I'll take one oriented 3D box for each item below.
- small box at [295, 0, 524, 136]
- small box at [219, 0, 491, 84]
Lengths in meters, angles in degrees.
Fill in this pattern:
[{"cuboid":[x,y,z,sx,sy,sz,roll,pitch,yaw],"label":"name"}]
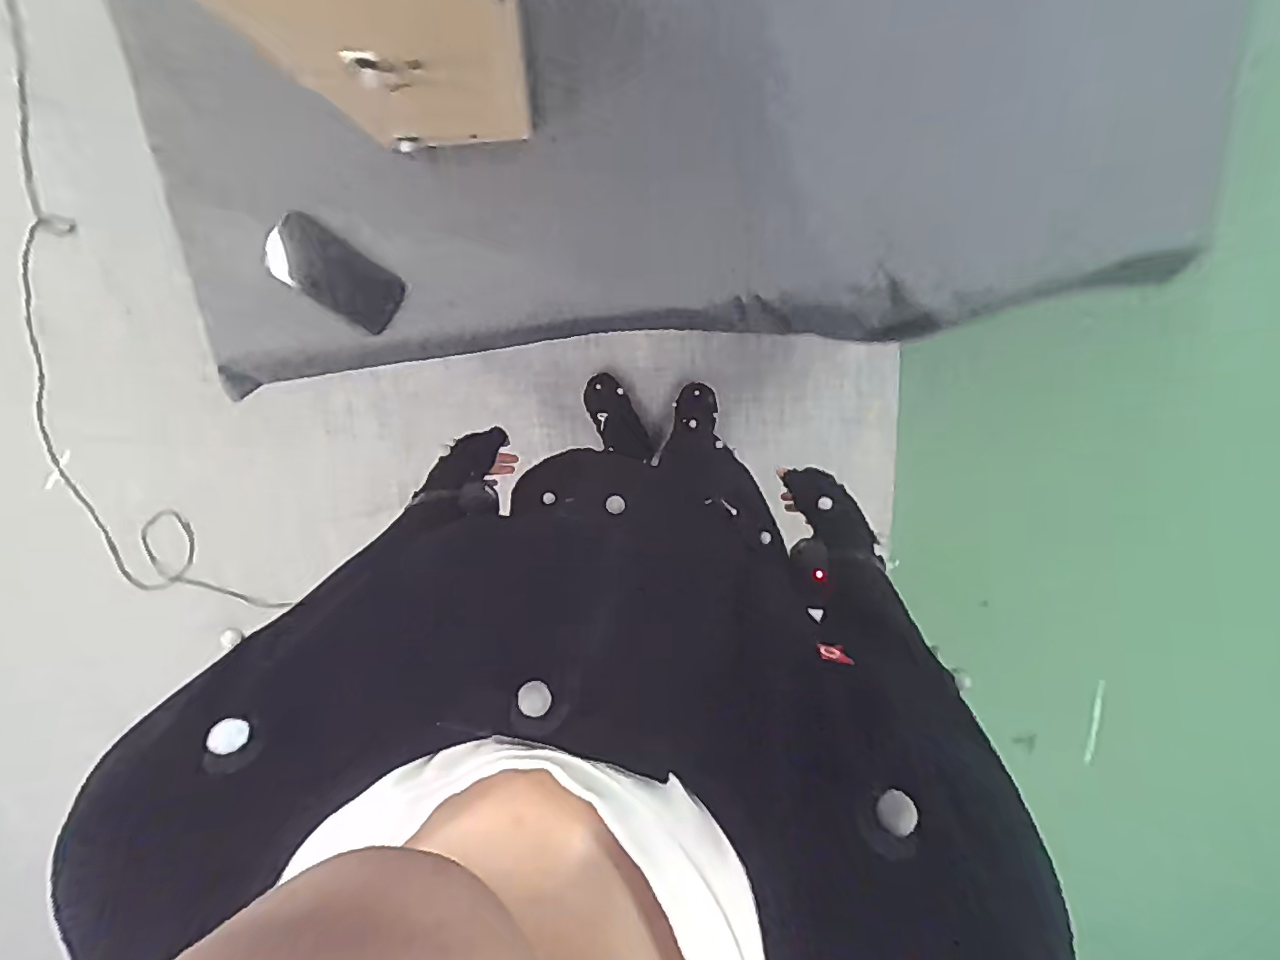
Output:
[{"cuboid":[-0.212,-0.445,0.506,0.168,0.176,0.179,-4,104,0],"label":"small box"},{"cuboid":[-0.207,-0.399,0.351,0.168,0.176,0.179,-5,106,1],"label":"small box"}]
